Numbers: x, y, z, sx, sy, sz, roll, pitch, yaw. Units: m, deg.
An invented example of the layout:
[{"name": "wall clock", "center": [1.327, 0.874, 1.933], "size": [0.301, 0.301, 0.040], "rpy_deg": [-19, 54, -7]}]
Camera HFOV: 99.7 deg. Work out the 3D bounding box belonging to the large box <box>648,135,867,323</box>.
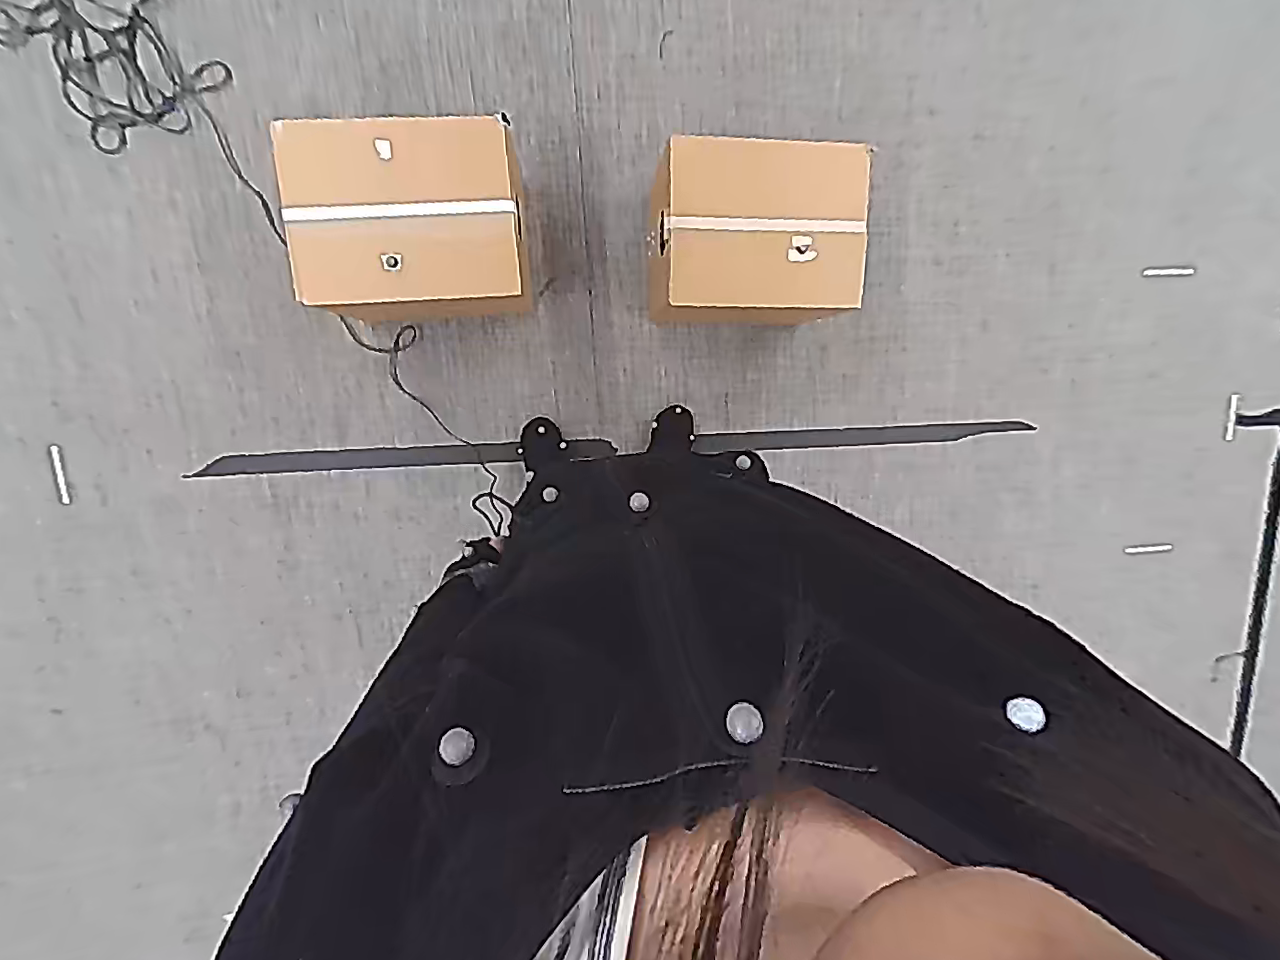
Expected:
[{"name": "large box", "center": [0.238, -0.534, 1.220], "size": [0.408, 0.320, 0.320], "rpy_deg": [-1, 100, -7]}]
